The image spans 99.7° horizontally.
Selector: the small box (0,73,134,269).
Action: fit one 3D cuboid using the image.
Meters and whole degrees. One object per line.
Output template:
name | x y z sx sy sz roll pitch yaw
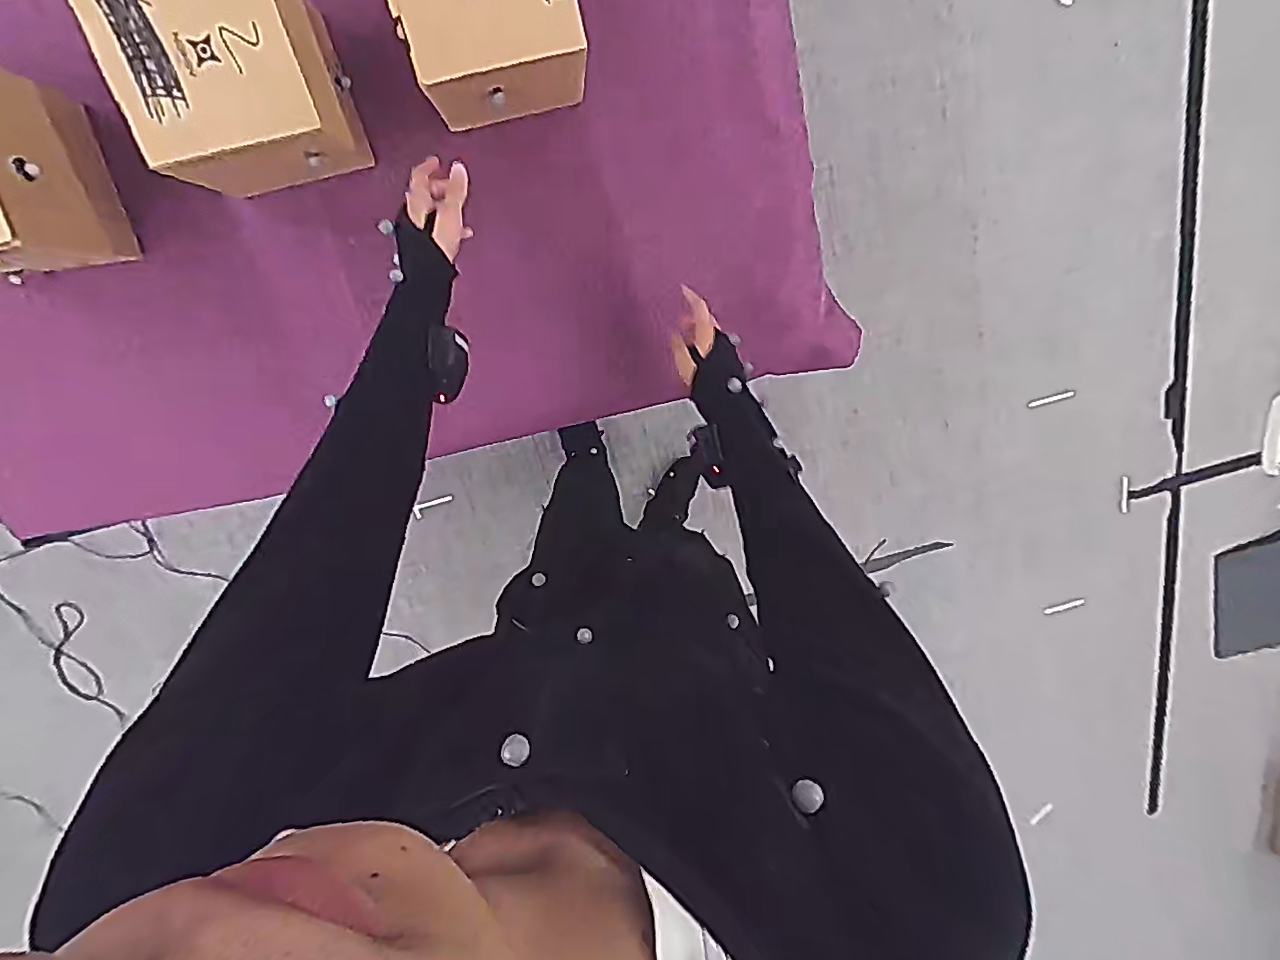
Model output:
small box | -0.710 -0.326 0.575 0.168 0.176 0.179 -10 109 -5
